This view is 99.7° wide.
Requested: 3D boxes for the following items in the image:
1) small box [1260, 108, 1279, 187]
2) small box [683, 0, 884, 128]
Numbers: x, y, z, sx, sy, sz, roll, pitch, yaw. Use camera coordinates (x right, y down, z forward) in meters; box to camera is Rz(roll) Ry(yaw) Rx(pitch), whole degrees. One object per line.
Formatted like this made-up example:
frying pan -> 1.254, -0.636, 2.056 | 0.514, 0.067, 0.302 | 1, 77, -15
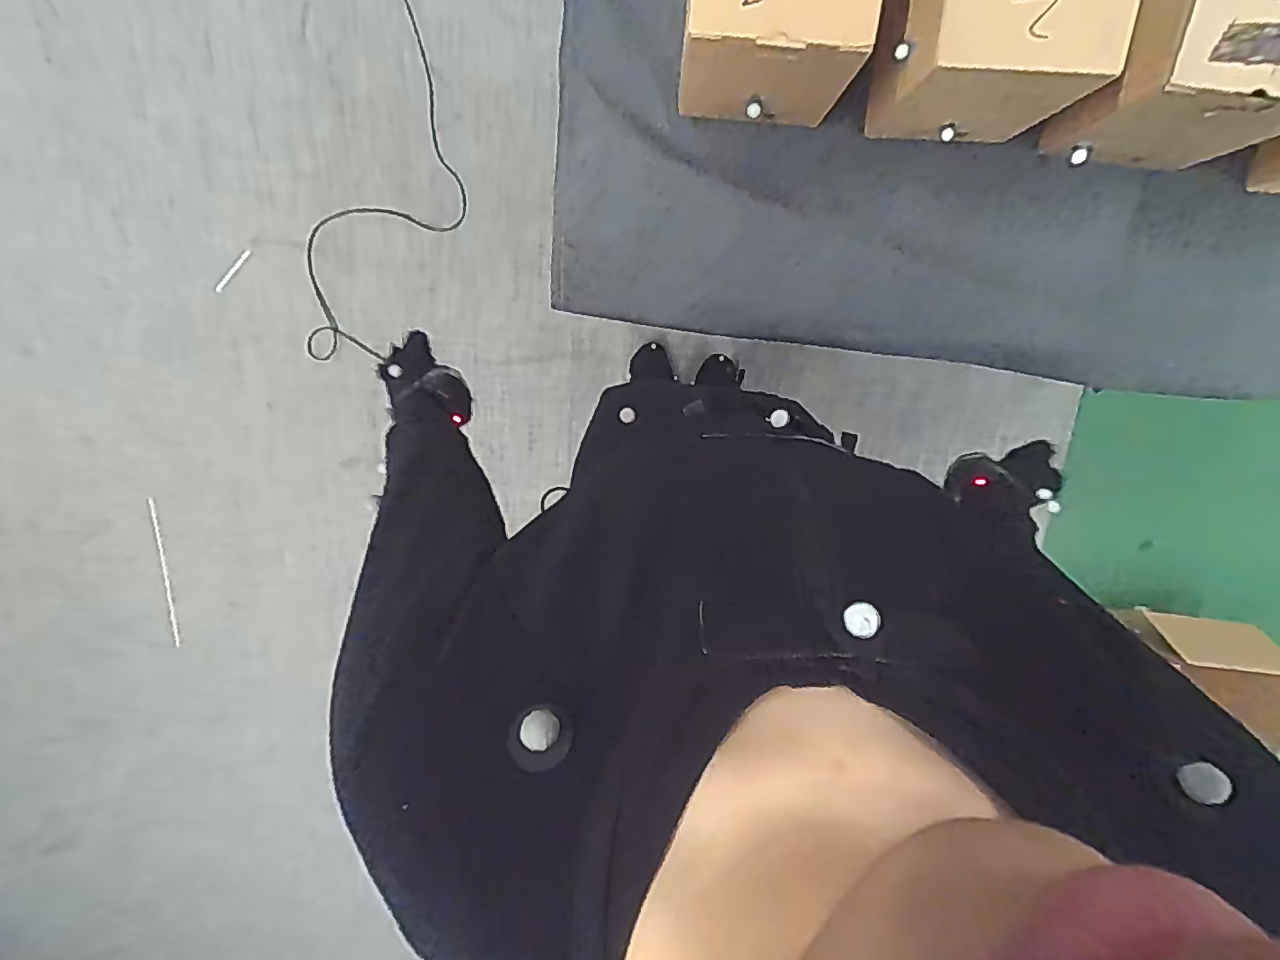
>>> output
small box -> 0.800, -0.393, 0.535 | 0.168, 0.176, 0.179 | 6, 103, 1
small box -> 0.134, -0.482, 0.530 | 0.168, 0.176, 0.179 | 5, 104, 0
